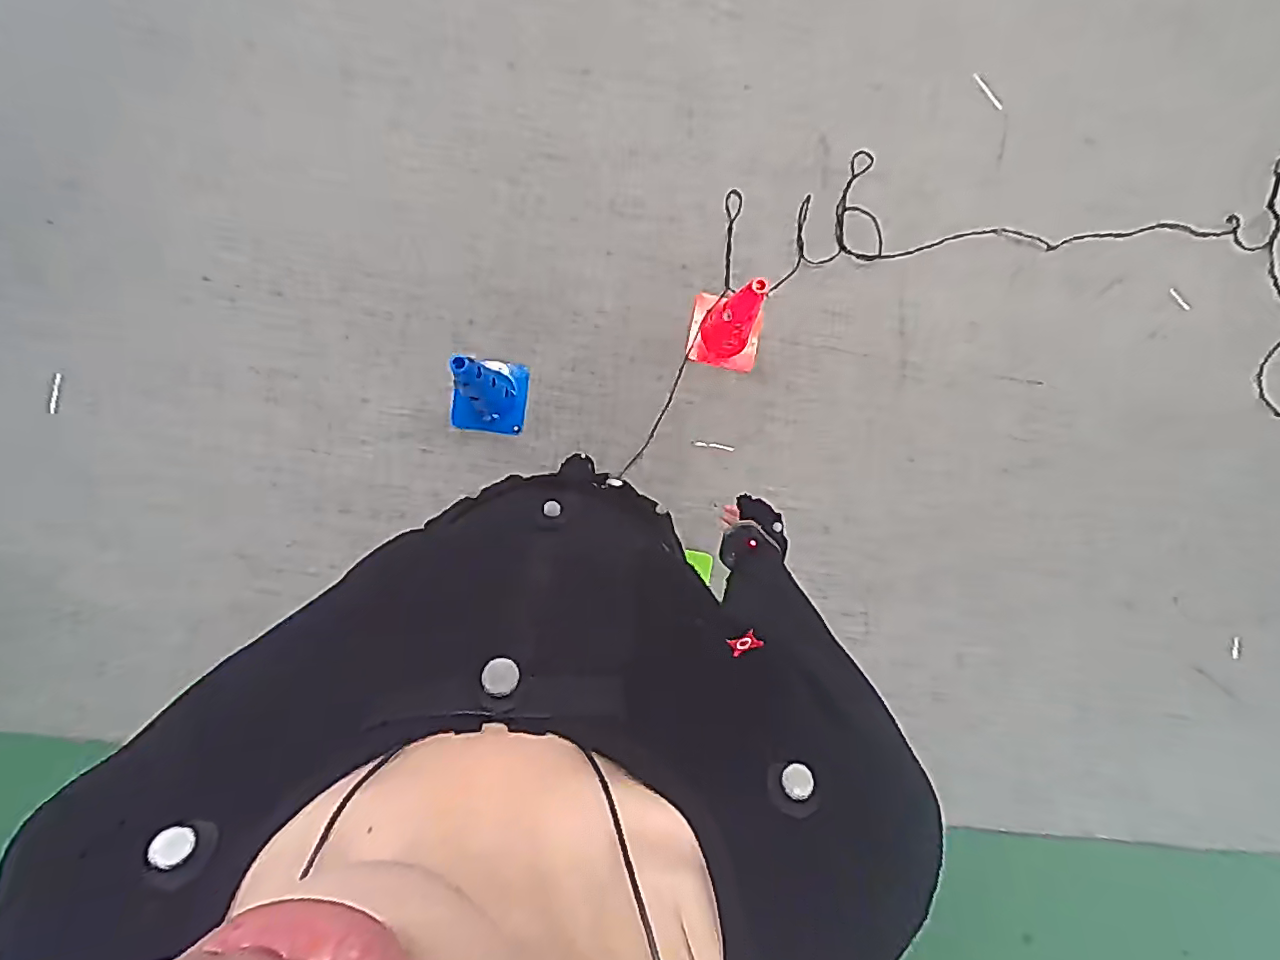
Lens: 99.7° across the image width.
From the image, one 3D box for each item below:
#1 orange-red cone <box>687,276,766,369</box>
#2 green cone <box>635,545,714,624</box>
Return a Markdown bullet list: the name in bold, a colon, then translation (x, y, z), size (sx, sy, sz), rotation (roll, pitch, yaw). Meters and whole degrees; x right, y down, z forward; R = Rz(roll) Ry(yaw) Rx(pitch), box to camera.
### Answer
- **orange-red cone**: translation (0.255, -0.433, 1.383), size (0.198, 0.360, 0.199), rotation (13, 88, -3)
- **green cone**: translation (0.113, 0.284, 1.340), size (0.200, 0.368, 0.202), rotation (10, 86, -5)
